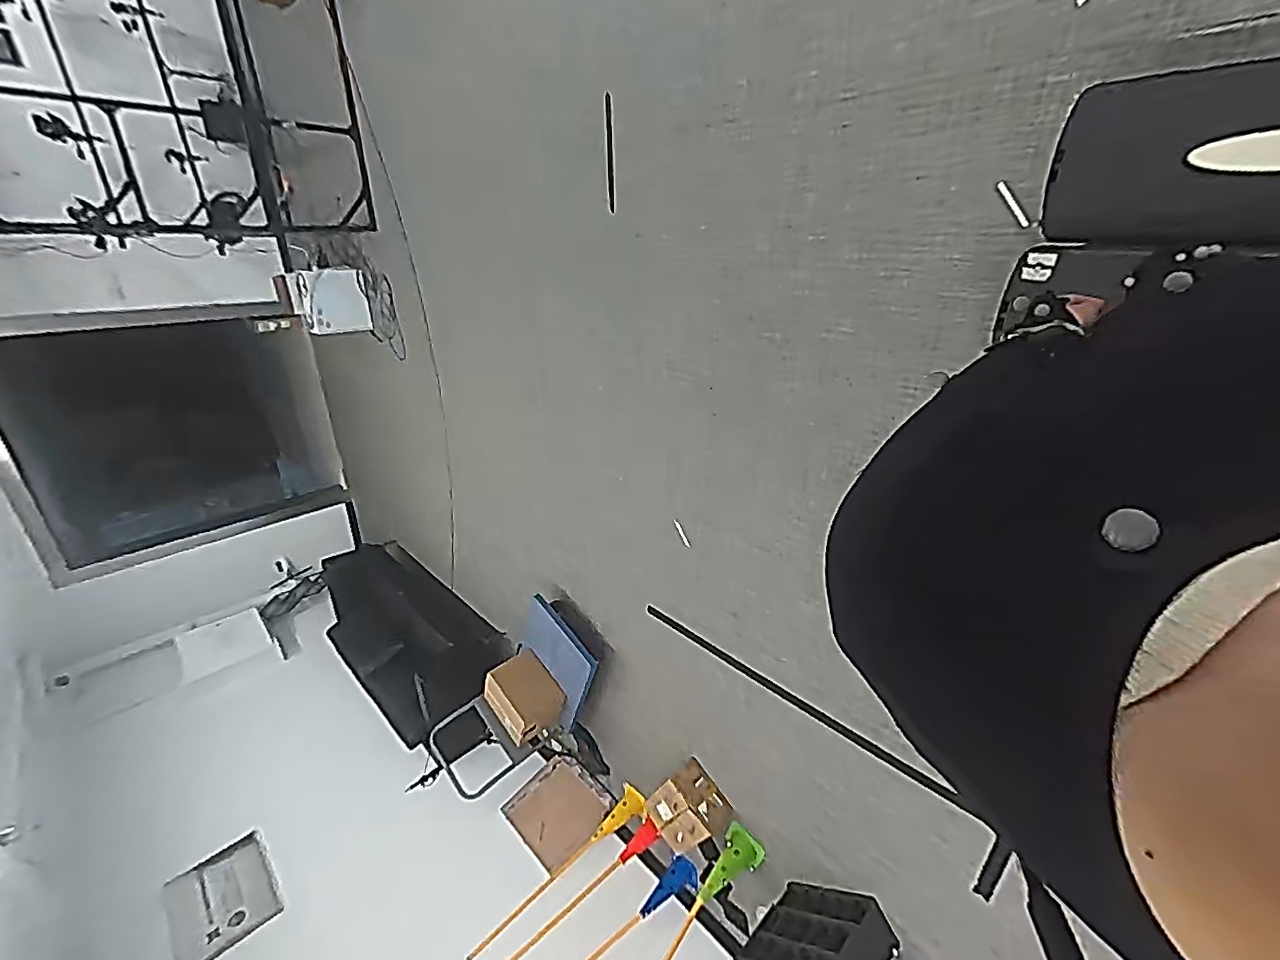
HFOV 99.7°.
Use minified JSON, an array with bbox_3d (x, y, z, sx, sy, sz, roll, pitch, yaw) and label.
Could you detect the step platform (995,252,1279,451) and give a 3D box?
[{"bbox_3d":[1.076,-0.242,1.006,0.684,0.204,0.286,29,125,40],"label":"step platform"}]
